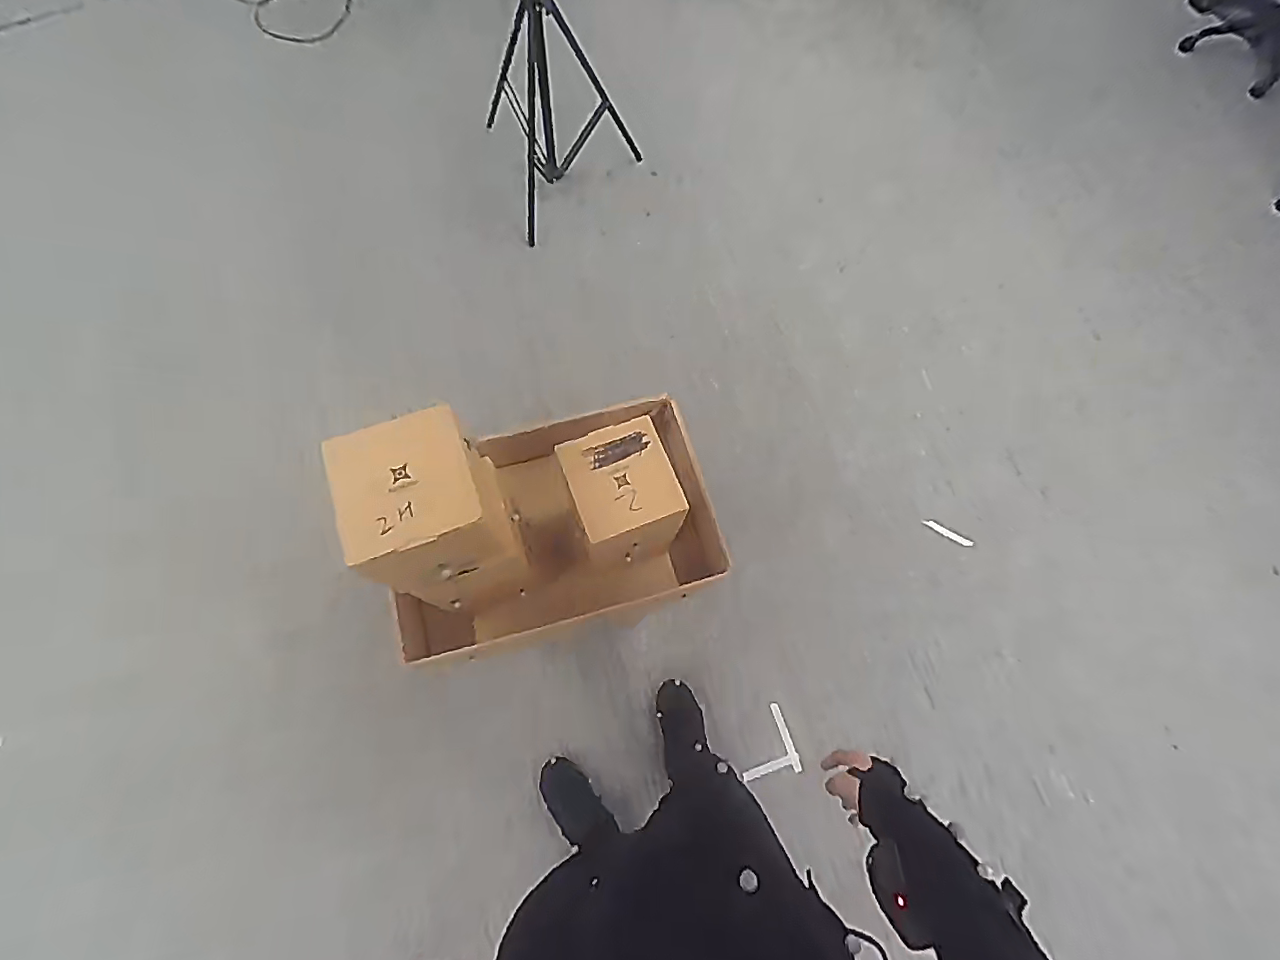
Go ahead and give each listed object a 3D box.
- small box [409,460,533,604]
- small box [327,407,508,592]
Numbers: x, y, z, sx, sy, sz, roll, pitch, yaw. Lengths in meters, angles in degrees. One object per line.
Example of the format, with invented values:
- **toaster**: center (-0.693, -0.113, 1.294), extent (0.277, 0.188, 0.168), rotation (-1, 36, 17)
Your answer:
- **small box**: center (-0.286, 0.095, 0.894), extent (0.168, 0.176, 0.179), rotation (-18, 70, -9)
- **small box**: center (-0.294, 0.033, 0.740), extent (0.168, 0.176, 0.179), rotation (-20, 70, -9)
